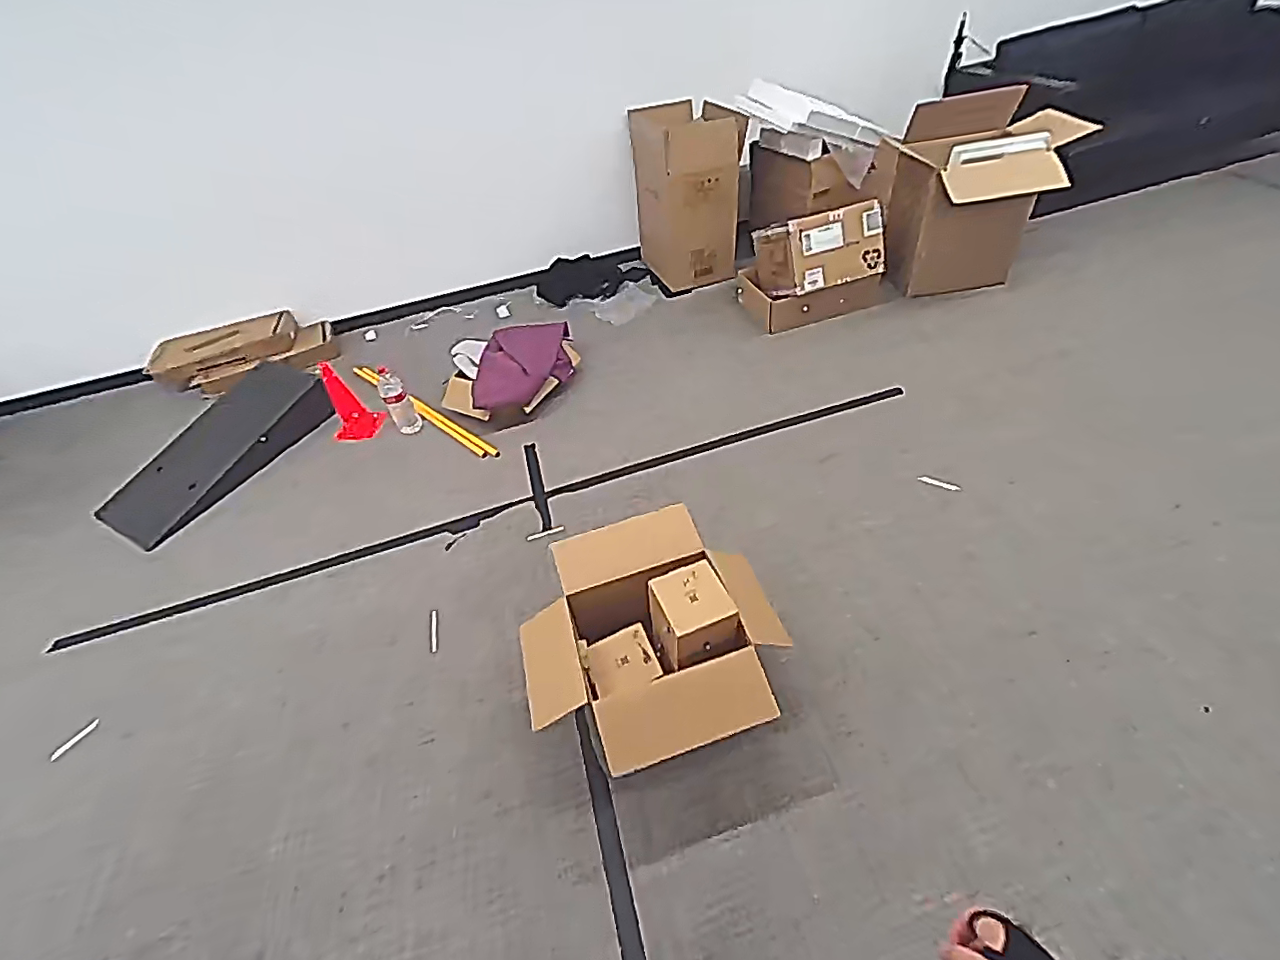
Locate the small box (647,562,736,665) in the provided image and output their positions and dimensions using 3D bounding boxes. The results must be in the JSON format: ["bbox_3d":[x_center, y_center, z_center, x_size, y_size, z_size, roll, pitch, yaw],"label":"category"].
[{"bbox_3d":[0.130,0.347,1.379,0.168,0.176,0.179,-18,46,-14],"label":"small box"}]
